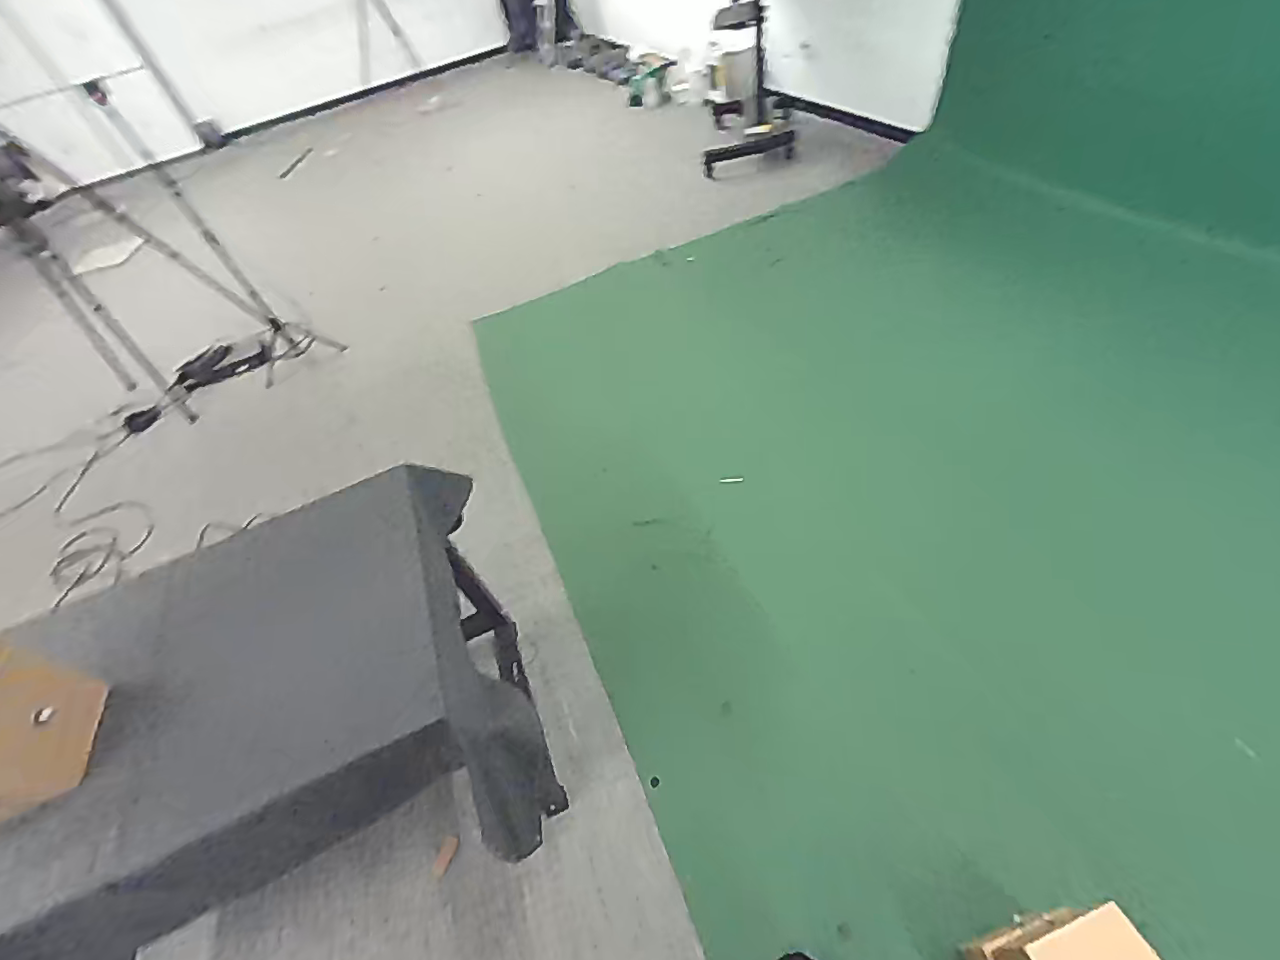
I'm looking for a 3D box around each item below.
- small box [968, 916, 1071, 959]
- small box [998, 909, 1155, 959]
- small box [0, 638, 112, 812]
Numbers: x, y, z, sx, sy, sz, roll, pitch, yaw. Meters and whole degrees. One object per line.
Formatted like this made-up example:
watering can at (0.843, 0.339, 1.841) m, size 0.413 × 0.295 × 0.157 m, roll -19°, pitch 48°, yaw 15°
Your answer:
small box at (0.711, 0.903, 0.947) m, size 0.179 × 0.176 × 0.168 m, roll -19°, pitch 47°, yaw -5°
small box at (0.695, 0.796, 0.823) m, size 0.168 × 0.176 × 0.179 m, roll -20°, pitch 48°, yaw -5°
small box at (-0.982, 0.383, 0.832) m, size 0.168 × 0.176 × 0.179 m, roll -23°, pitch 48°, yaw -7°
